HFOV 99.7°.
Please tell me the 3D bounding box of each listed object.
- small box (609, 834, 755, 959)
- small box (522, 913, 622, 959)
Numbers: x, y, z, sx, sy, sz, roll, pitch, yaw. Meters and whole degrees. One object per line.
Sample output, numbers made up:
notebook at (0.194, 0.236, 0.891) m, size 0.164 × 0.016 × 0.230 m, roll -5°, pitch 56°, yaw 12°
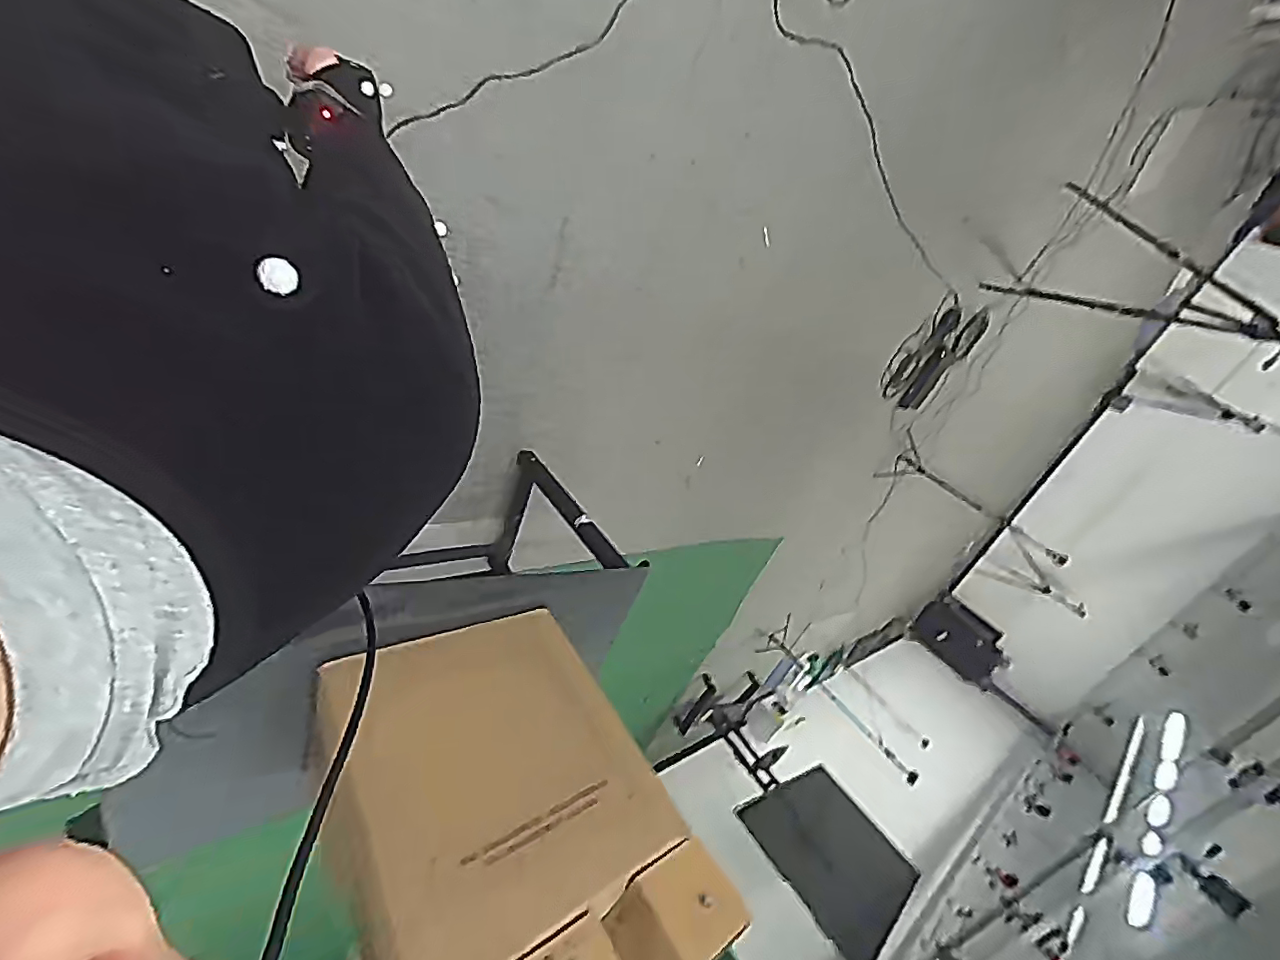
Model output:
small box at (0.075, 0.814, 1.012) m, size 0.179 × 0.176 × 0.168 m, roll -2°, pitch 124°, yaw -46°
small box at (-0.110, 0.838, 0.847) m, size 0.168 × 0.176 × 0.179 m, roll -5°, pitch 126°, yaw -42°
